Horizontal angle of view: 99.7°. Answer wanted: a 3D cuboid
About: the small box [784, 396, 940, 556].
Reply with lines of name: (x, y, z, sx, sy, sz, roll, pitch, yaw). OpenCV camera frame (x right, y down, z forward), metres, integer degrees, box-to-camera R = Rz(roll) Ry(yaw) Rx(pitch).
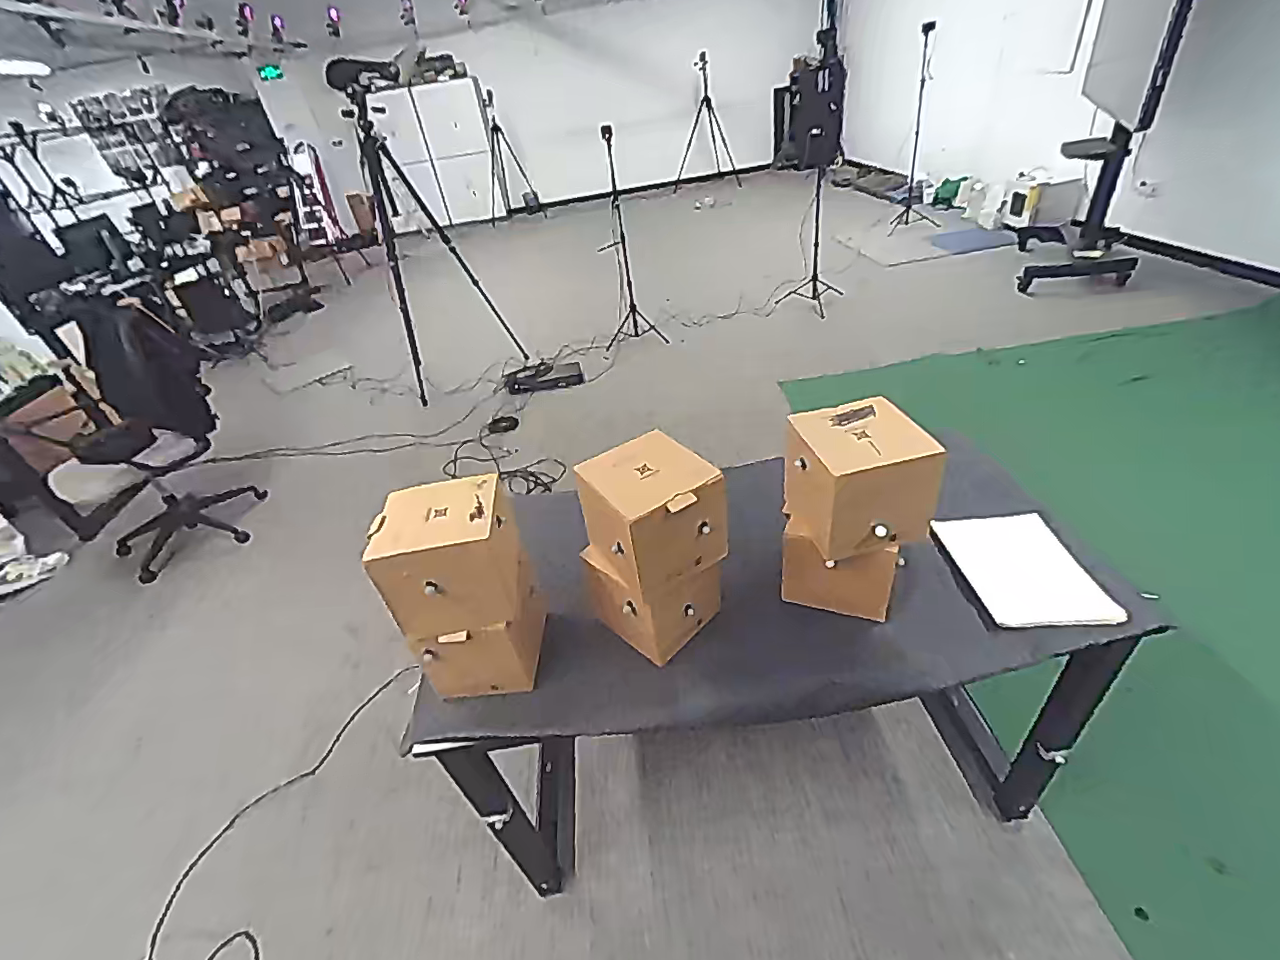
small box: (0.333, -0.008, 0.854, 0.168, 0.176, 0.179, -13, 36, -3)

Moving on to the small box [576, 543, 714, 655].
small box: (0.016, 0.178, 0.955, 0.179, 0.176, 0.168, 26, 48, 38)

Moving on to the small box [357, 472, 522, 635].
small box: (-0.293, 0.115, 0.834, 0.179, 0.176, 0.168, -11, 35, -2)

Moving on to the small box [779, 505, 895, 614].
small box: (0.353, 0.114, 0.963, 0.179, 0.176, 0.168, 8, 39, 24)

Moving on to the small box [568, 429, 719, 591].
small box: (0.011, 0.050, 0.853, 0.168, 0.176, 0.179, -26, 38, -23)
